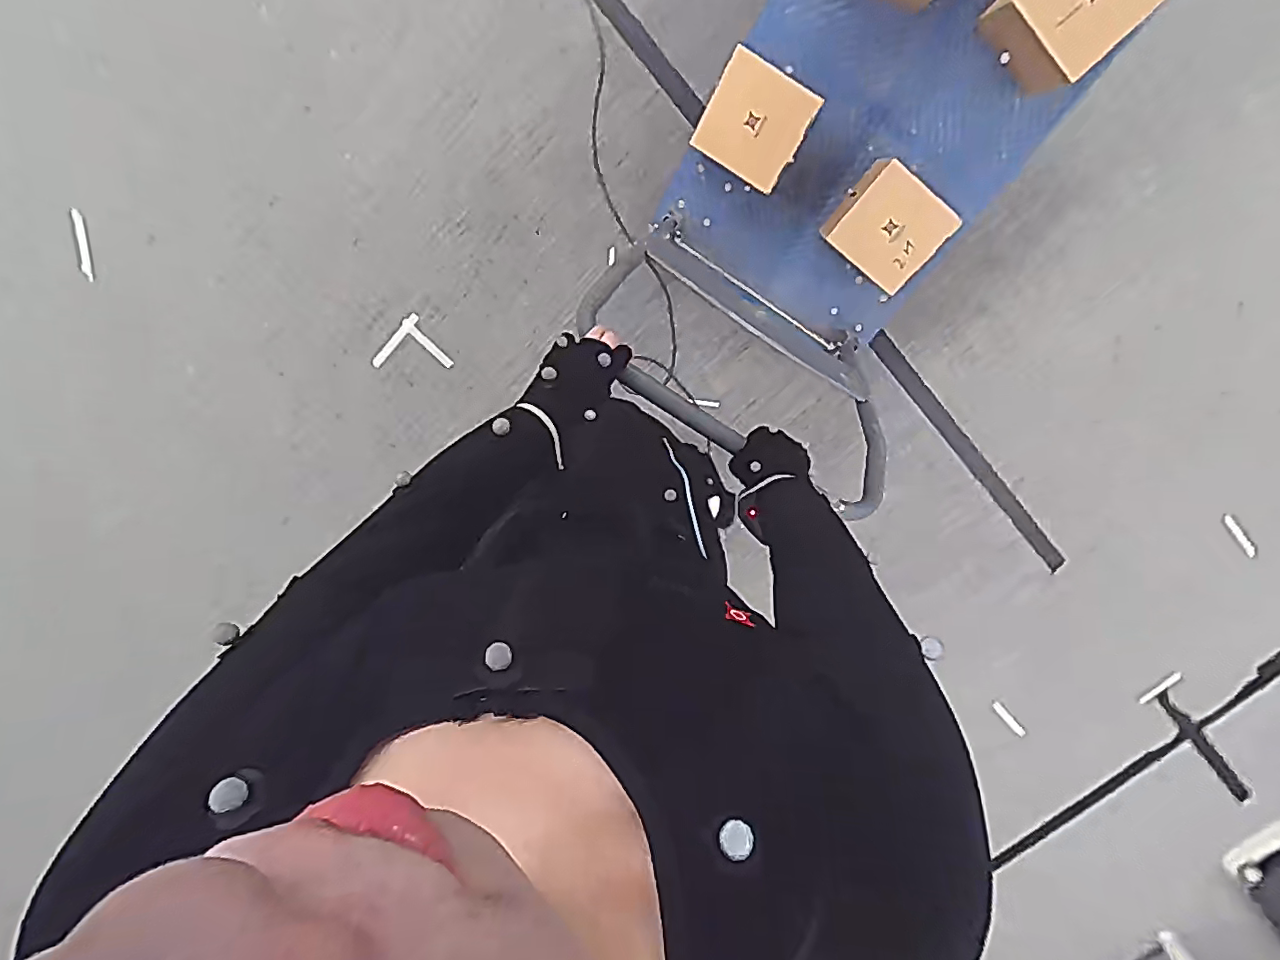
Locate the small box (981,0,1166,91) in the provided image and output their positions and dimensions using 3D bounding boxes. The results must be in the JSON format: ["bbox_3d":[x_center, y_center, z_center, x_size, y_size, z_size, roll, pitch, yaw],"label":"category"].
[{"bbox_3d":[0.693,-0.767,0.862,0.168,0.176,0.179,42,120,-12],"label":"small box"}]

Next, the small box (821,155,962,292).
[{"bbox_3d":[0.478,-0.501,1.061,0.179,0.176,0.168,37,121,-9],"label":"small box"}]

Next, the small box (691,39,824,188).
[{"bbox_3d":[0.215,-0.676,1.019,0.179,0.176,0.168,29,121,-7],"label":"small box"}]
